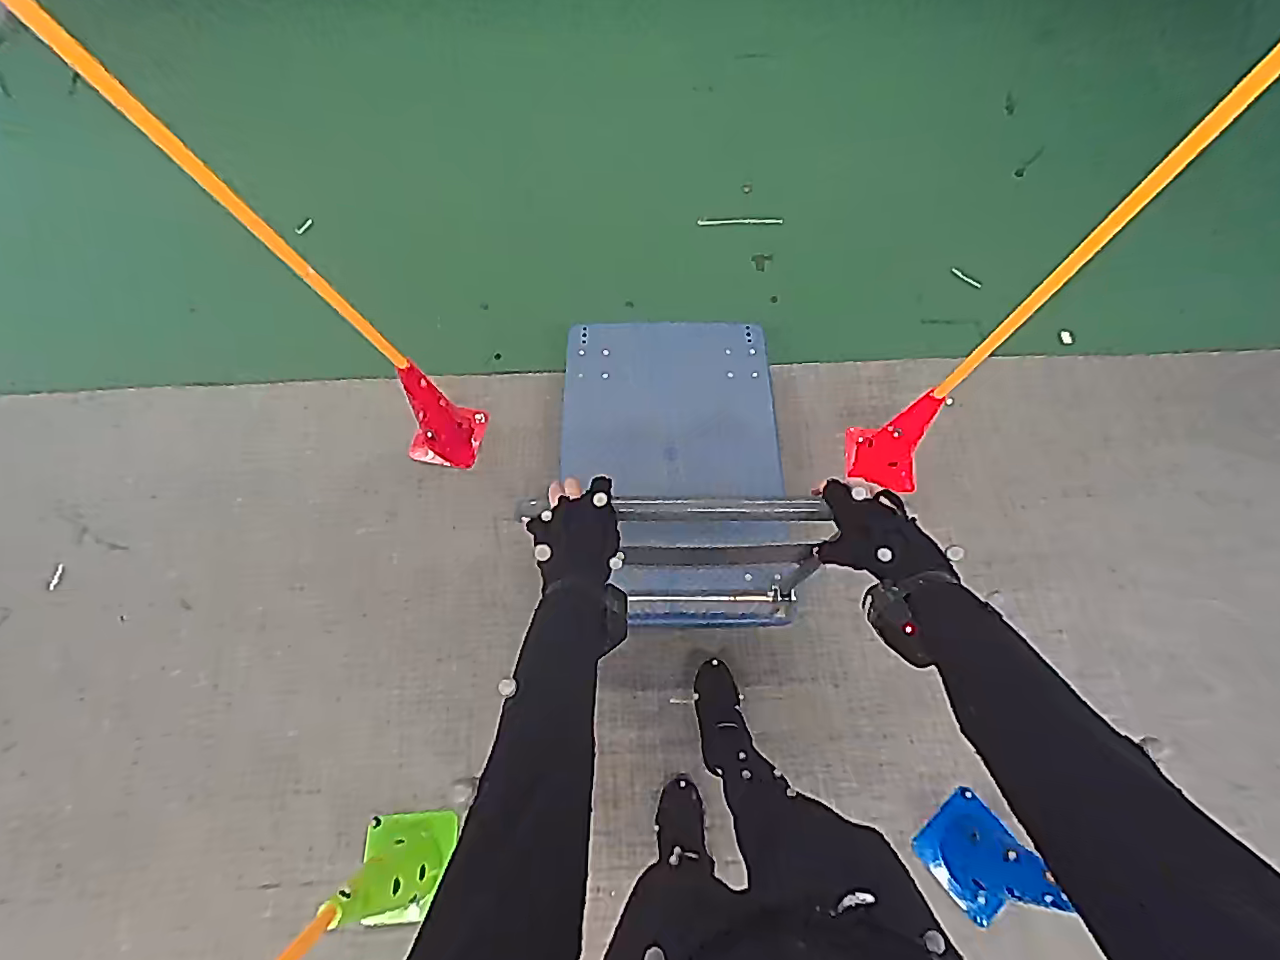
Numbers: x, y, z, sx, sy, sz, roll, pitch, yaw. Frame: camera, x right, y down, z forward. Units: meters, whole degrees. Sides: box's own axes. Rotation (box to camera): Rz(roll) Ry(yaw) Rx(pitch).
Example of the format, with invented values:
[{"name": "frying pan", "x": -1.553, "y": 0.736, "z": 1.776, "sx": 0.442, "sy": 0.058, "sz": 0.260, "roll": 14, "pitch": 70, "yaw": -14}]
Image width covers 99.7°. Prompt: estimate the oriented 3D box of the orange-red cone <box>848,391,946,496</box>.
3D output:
[{"name": "orange-red cone", "x": 0.717, "y": -0.123, "z": 1.451, "sx": 0.198, "sy": 0.360, "sz": 0.199, "roll": 8, "pitch": 66, "yaw": 4}]
